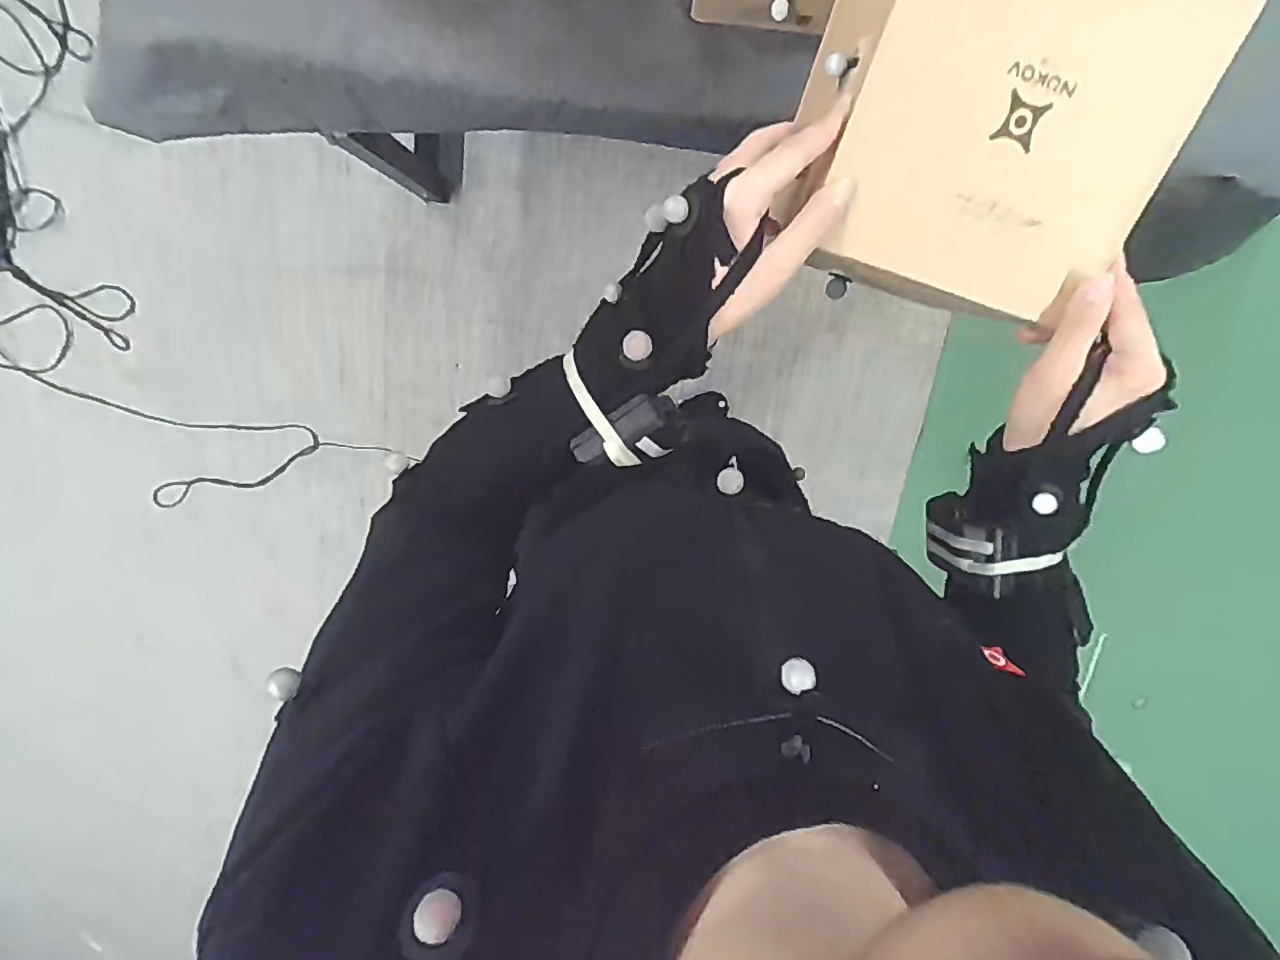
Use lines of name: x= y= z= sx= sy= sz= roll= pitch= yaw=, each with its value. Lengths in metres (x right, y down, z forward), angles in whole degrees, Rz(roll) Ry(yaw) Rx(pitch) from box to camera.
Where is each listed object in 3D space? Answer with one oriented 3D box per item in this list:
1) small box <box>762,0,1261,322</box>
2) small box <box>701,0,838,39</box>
small box: x=0.191 y=-0.217 z=0.340 sx=0.168 sy=0.176 sz=0.179 roll=16 pitch=112 yaw=-5
small box: x=0.142 y=-0.499 z=0.424 sx=0.168 sy=0.176 sz=0.179 roll=6 pitch=103 yaw=-1
